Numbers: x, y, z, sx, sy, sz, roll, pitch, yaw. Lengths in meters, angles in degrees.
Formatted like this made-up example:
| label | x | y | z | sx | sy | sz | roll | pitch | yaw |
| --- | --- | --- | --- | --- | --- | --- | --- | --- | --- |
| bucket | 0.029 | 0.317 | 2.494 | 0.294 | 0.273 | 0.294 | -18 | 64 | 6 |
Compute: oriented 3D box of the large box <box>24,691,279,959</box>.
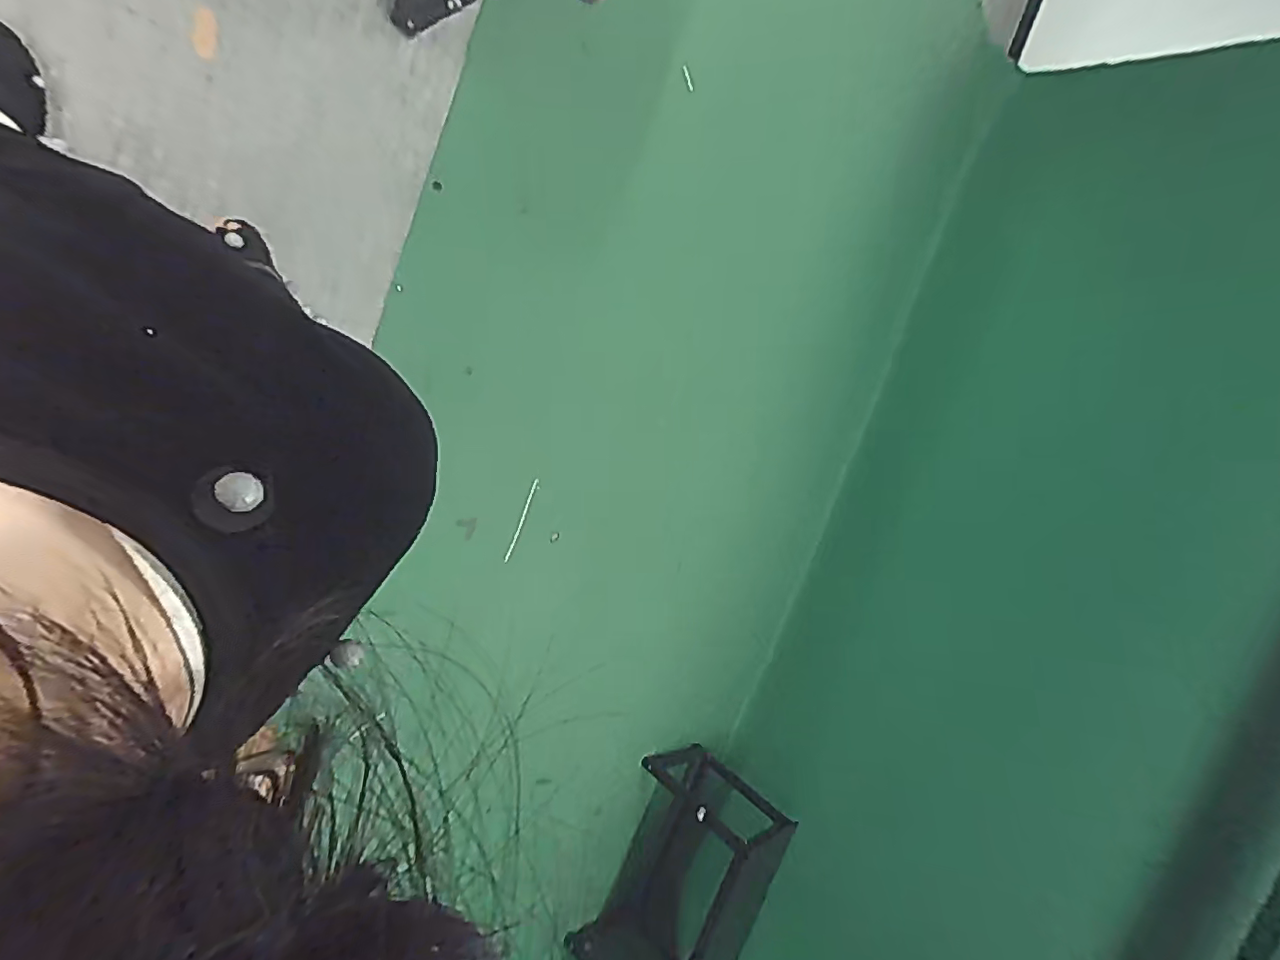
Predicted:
| label | x | y | z | sx | sy | sz | roll | pitch | yaw |
| --- | --- | --- | --- | --- | --- | --- | --- | --- | --- |
| large box | -1.126 | 0.770 | 1.270 | 0.408 | 0.320 | 0.320 | -6 | 113 | -47 |
